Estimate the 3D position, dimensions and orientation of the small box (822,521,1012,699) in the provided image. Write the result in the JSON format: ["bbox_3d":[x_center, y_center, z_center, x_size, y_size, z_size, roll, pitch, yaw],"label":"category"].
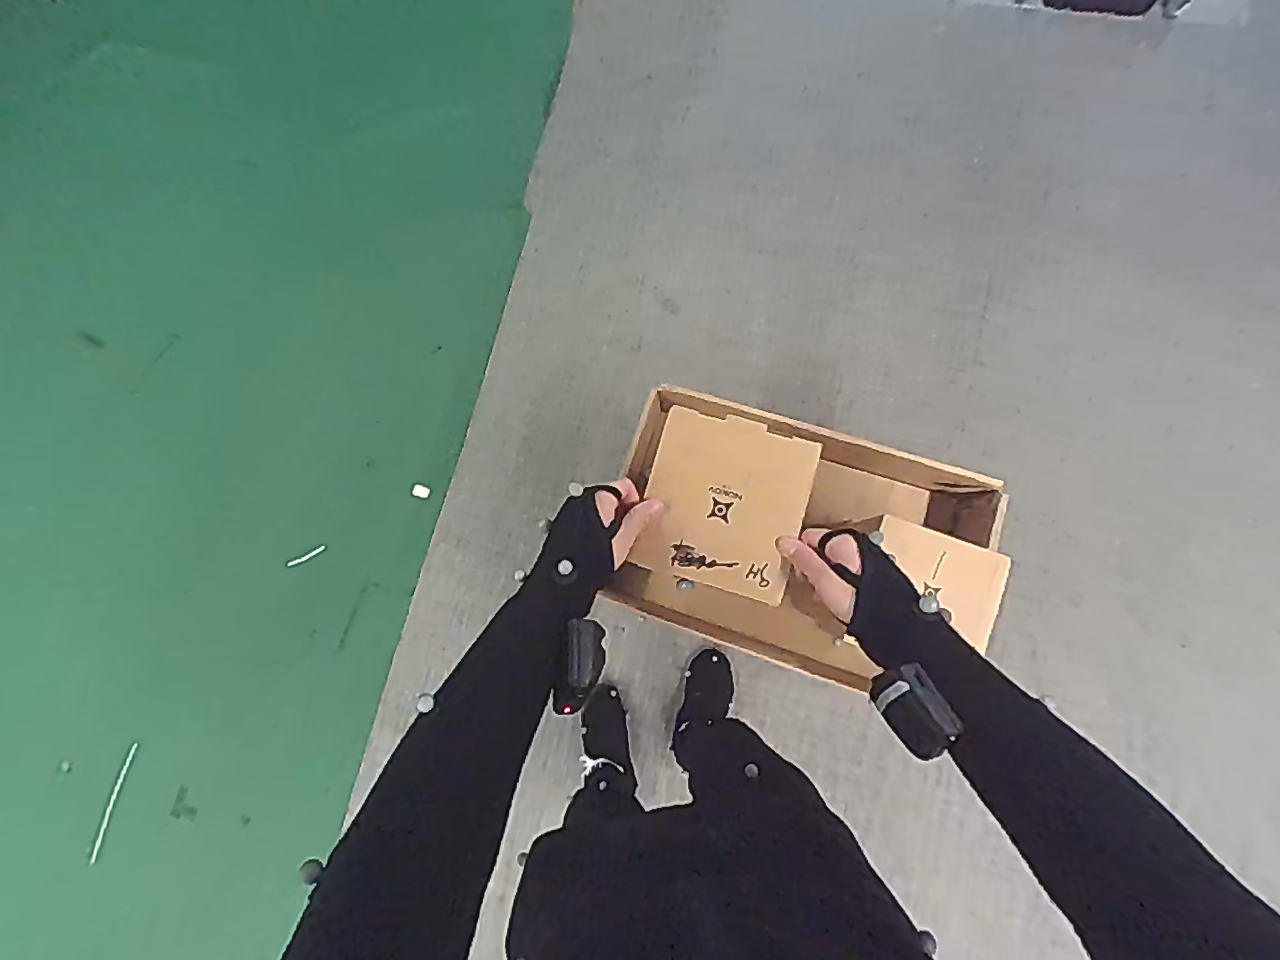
[{"bbox_3d":[0.370,0.175,0.758,0.168,0.176,0.179,21,82,9],"label":"small box"}]

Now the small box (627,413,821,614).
[{"bbox_3d":[0.094,0.043,0.639,0.168,0.176,0.179,16,83,8],"label":"small box"}]
